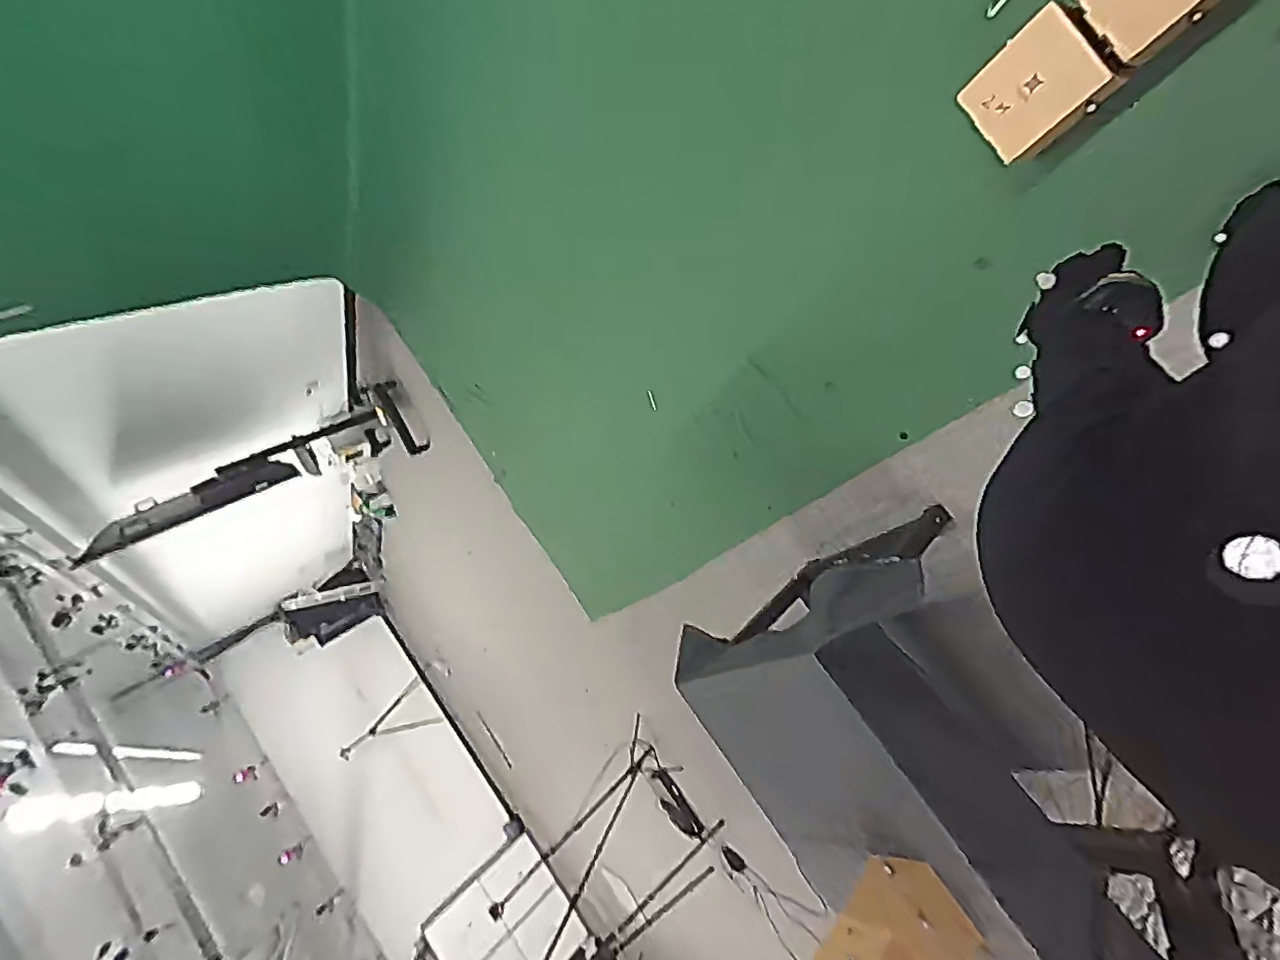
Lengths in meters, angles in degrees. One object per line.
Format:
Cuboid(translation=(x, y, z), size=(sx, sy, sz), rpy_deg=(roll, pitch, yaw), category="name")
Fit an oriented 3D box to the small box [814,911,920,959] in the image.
Cuboid(translation=(0.459, 1.003, 1.062), size=(0.179, 0.176, 0.168), rpy_deg=(54, 144, 8), category="small box")
